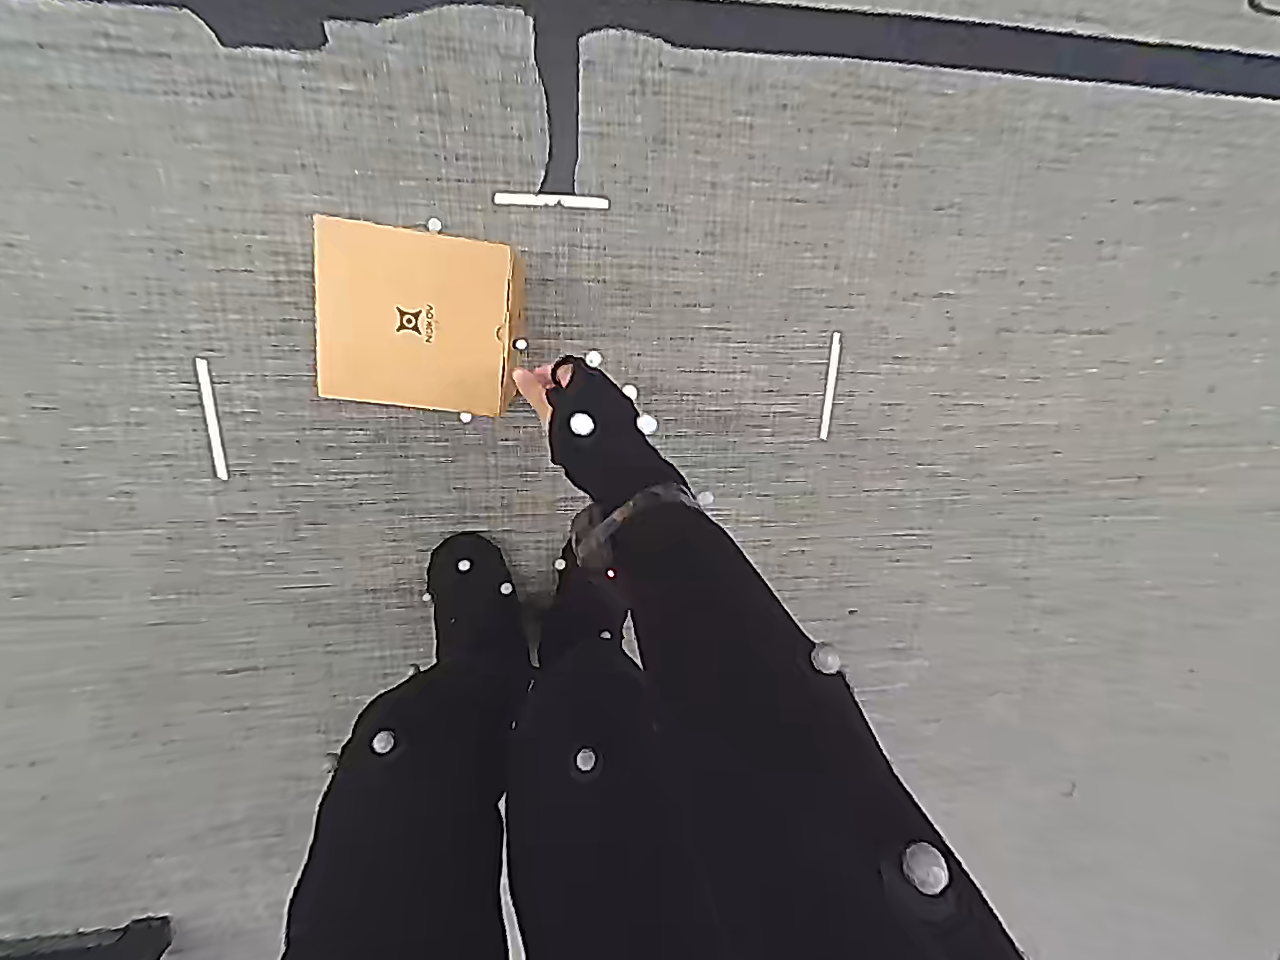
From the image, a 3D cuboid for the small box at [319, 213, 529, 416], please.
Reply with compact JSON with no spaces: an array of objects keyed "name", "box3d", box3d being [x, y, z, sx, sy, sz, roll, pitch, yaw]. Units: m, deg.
[{"name":"small box","box3d":[-0.218,-0.171,0.584,0.179,0.176,0.168,5,106,-11]}]
